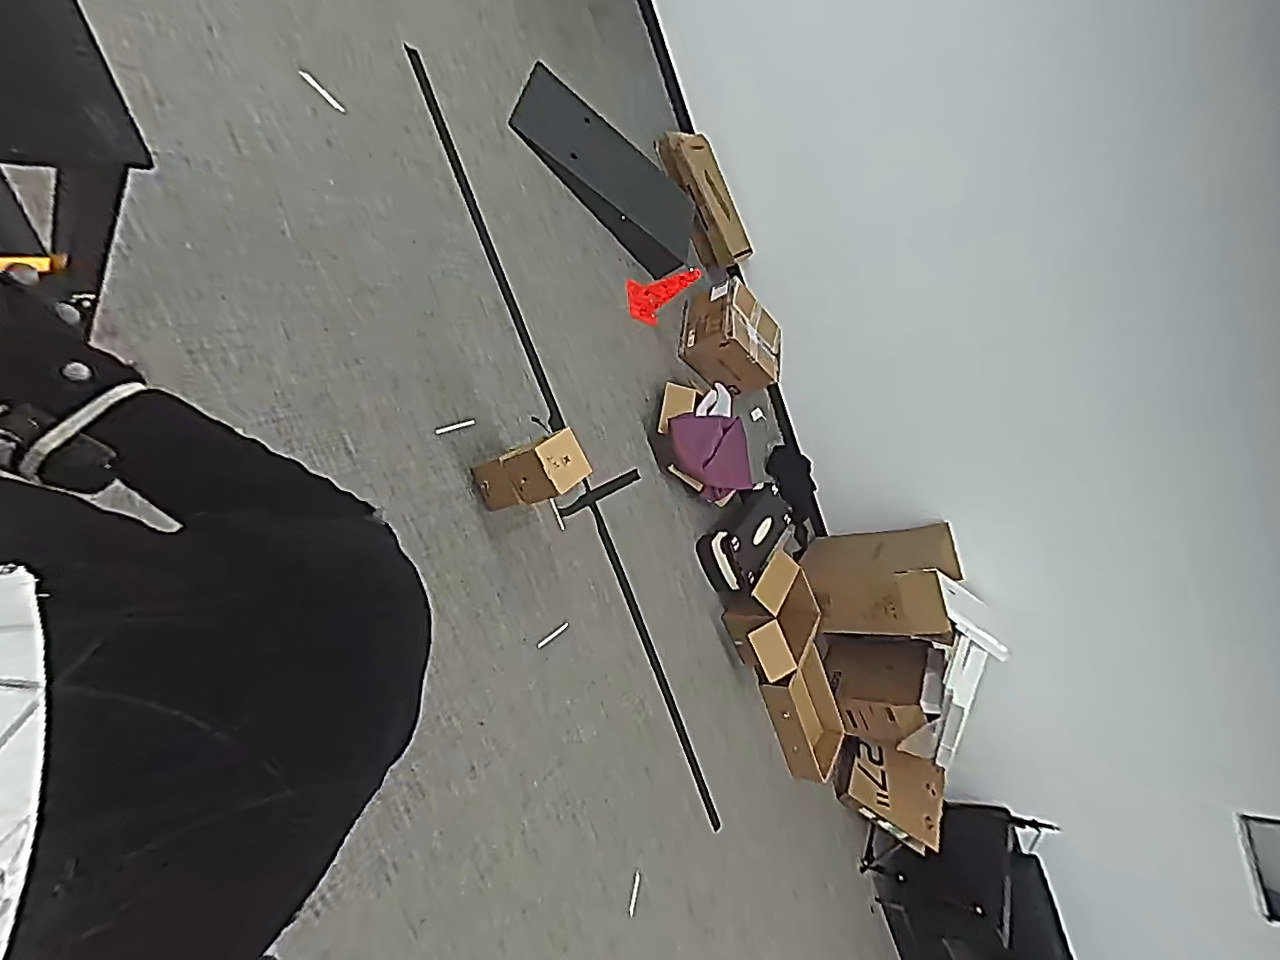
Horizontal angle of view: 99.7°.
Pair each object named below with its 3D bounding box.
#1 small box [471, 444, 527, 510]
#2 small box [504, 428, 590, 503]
[{"bbox_3d":[-0.429,-0.013,1.816,0.179,0.176,0.168,-34,104,-47],"label":"small box"},{"bbox_3d":[-0.297,-0.046,1.721,0.179,0.176,0.168,-41,109,-47],"label":"small box"}]
